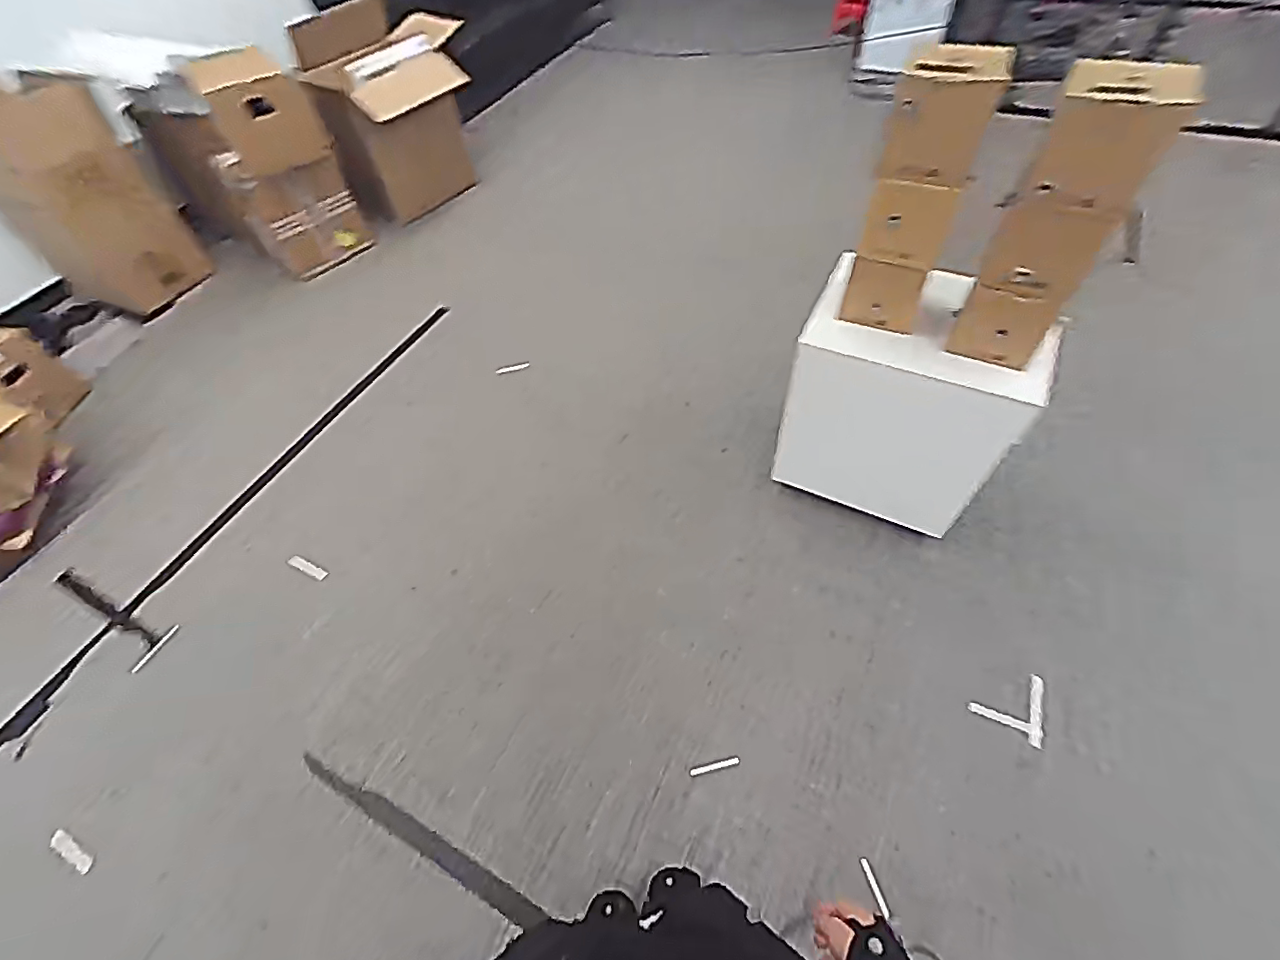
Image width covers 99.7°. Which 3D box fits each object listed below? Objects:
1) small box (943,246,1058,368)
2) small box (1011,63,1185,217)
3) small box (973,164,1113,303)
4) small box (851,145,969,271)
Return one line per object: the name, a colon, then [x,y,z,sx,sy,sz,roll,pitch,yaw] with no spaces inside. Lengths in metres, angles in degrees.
small box: [0.780,-0.371,1.170,0.168,0.176,0.179,21,60,20]
small box: [0.758,-0.568,0.909,0.168,0.176,0.179,22,58,21]
small box: [0.772,-0.474,1.043,0.168,0.176,0.179,21,59,21]
small box: [0.555,-0.565,1.128,0.168,0.176,0.179,20,58,18]
